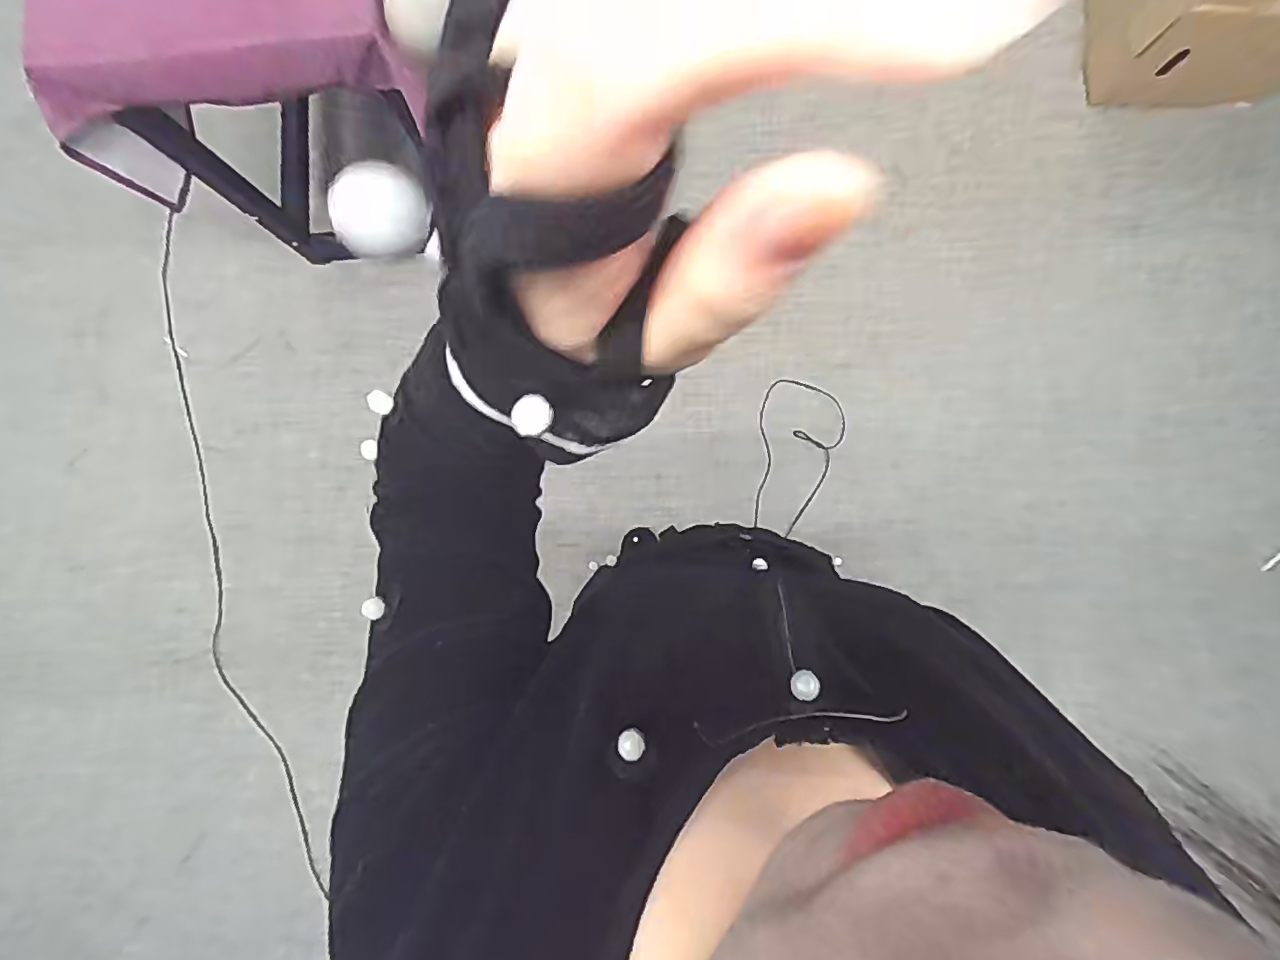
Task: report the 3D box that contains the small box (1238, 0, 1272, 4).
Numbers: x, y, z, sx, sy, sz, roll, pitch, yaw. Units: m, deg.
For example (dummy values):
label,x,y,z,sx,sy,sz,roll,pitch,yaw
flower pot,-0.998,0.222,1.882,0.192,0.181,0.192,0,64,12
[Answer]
label,x,y,z,sx,sy,sz,roll,pitch,yaw
small box,1.385,-1.192,1.176,0.179,0.176,0.168,7,87,2
